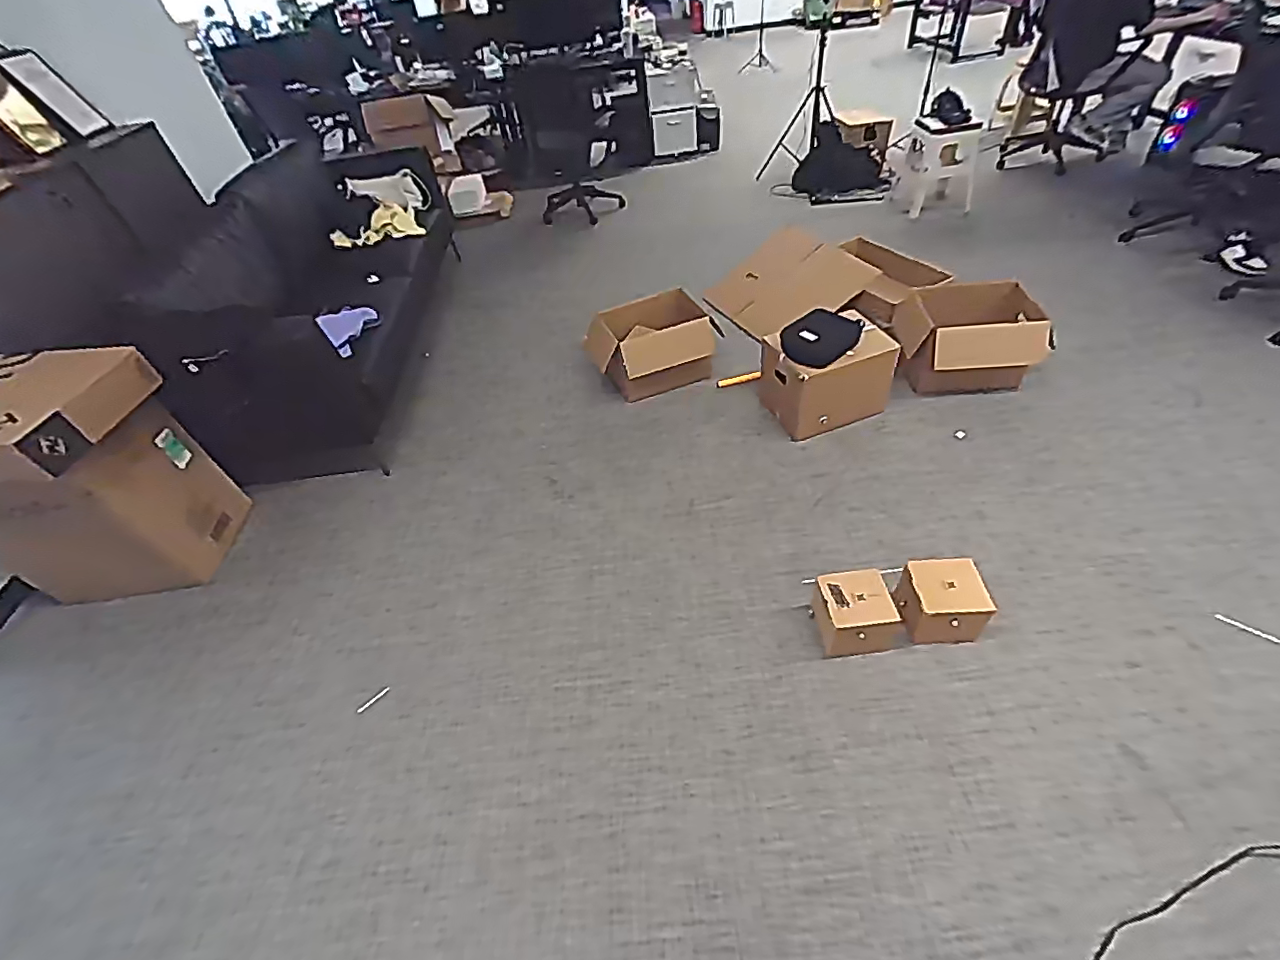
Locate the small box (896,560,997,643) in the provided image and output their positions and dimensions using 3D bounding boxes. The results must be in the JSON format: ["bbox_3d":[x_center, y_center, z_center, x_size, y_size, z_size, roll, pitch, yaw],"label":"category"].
[{"bbox_3d":[0.837,0.338,1.496,0.179,0.176,0.168,-5,46,7],"label":"small box"}]

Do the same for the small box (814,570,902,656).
[{"bbox_3d":[0.594,0.373,1.503,0.179,0.176,0.168,-7,46,2],"label":"small box"}]
